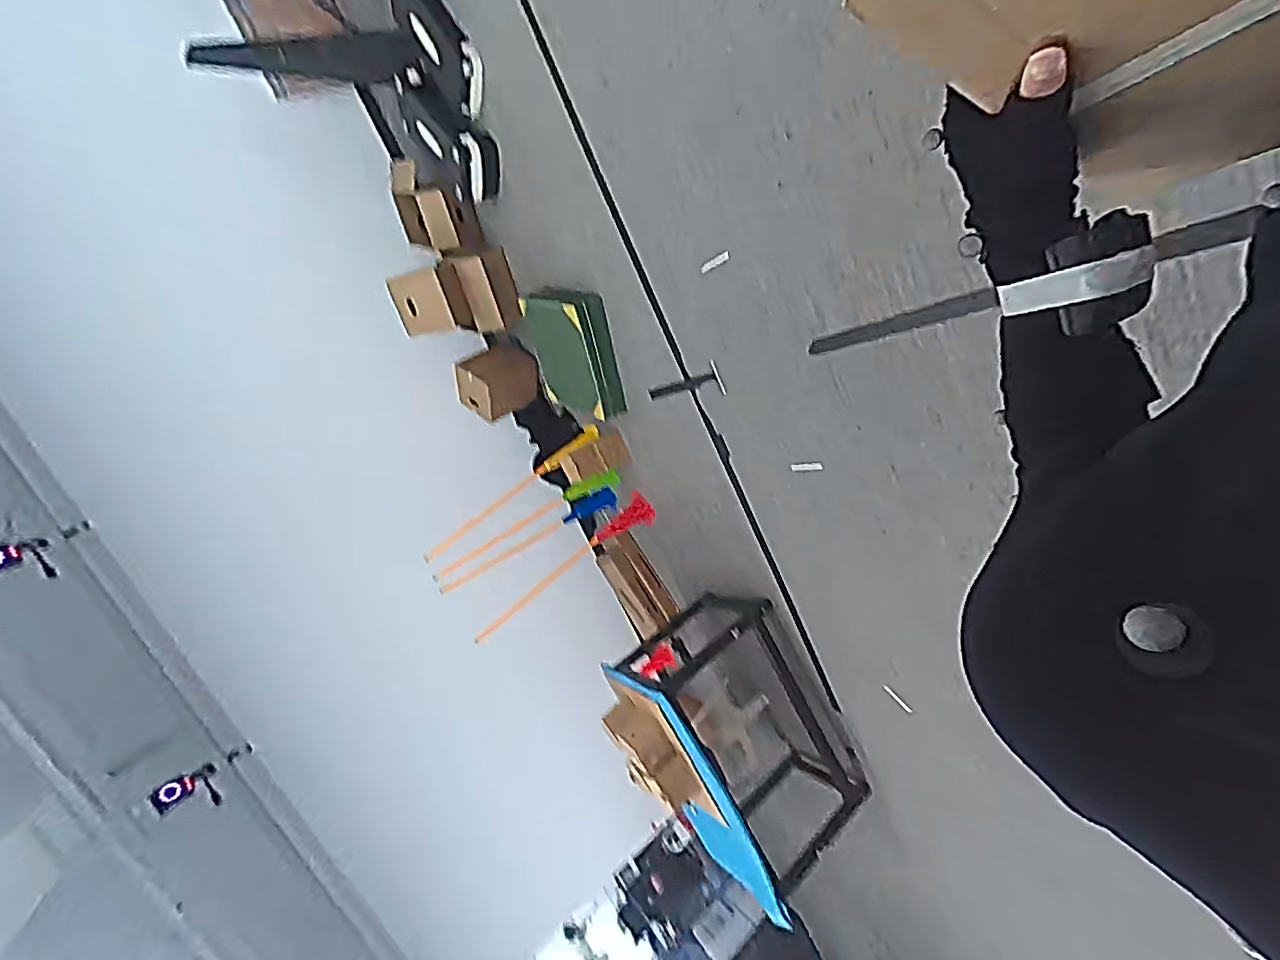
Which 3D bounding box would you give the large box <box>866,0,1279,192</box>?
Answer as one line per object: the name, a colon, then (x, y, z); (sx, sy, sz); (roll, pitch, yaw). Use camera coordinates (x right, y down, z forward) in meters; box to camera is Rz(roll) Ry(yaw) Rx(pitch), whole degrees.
large box: (0.333, -0.374, 0.165); (0.408, 0.320, 0.320); (-1, 88, 59)
